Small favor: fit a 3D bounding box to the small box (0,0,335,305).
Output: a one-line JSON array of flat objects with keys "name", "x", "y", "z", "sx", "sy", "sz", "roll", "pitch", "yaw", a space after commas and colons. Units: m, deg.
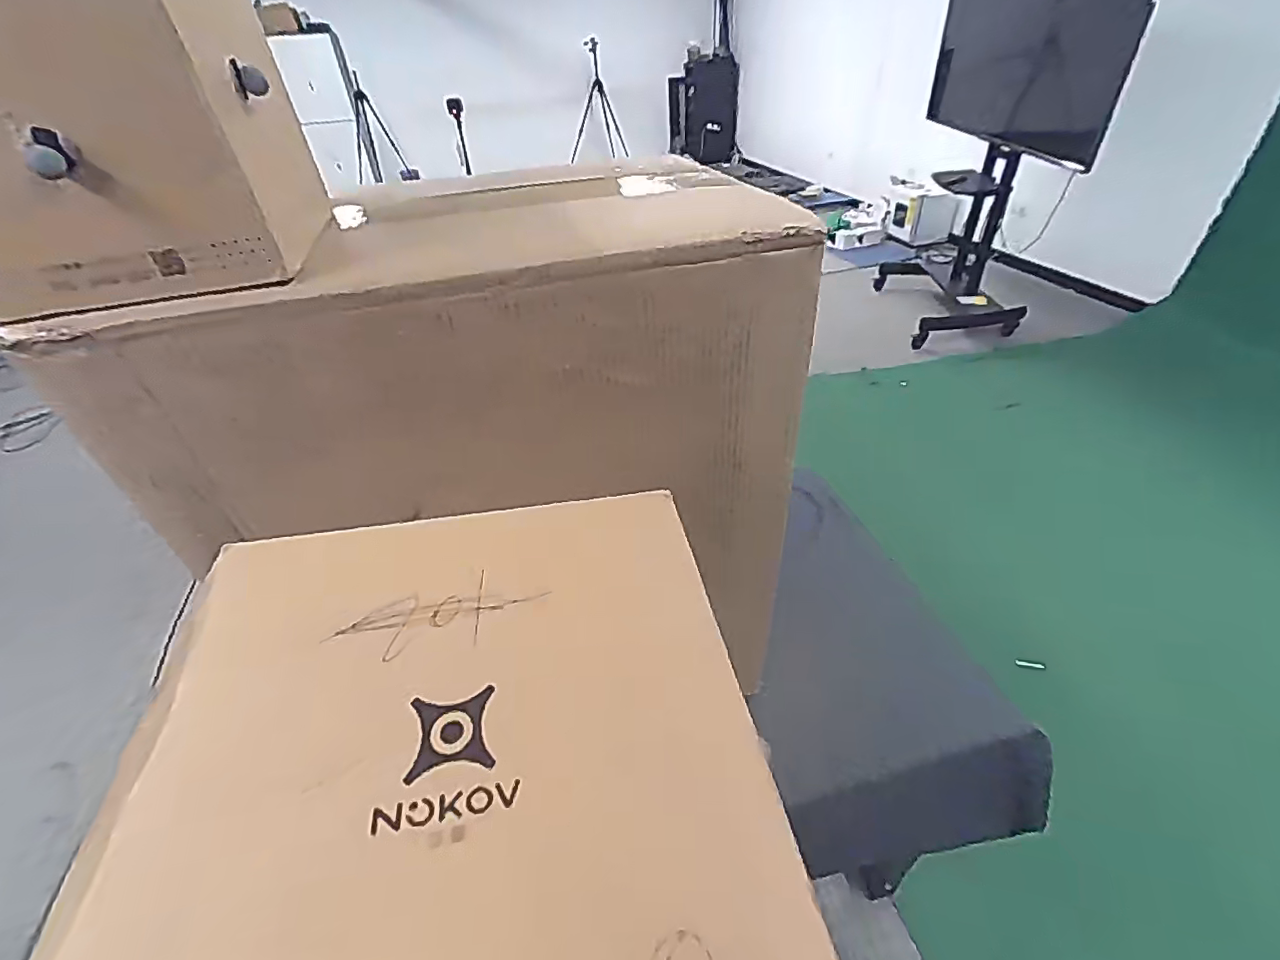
[{"name": "small box", "x": -0.321, "y": -0.222, "z": 0.342, "sx": 0.168, "sy": 0.176, "sz": 0.179, "roll": -12, "pitch": 42, "yaw": -9}]
